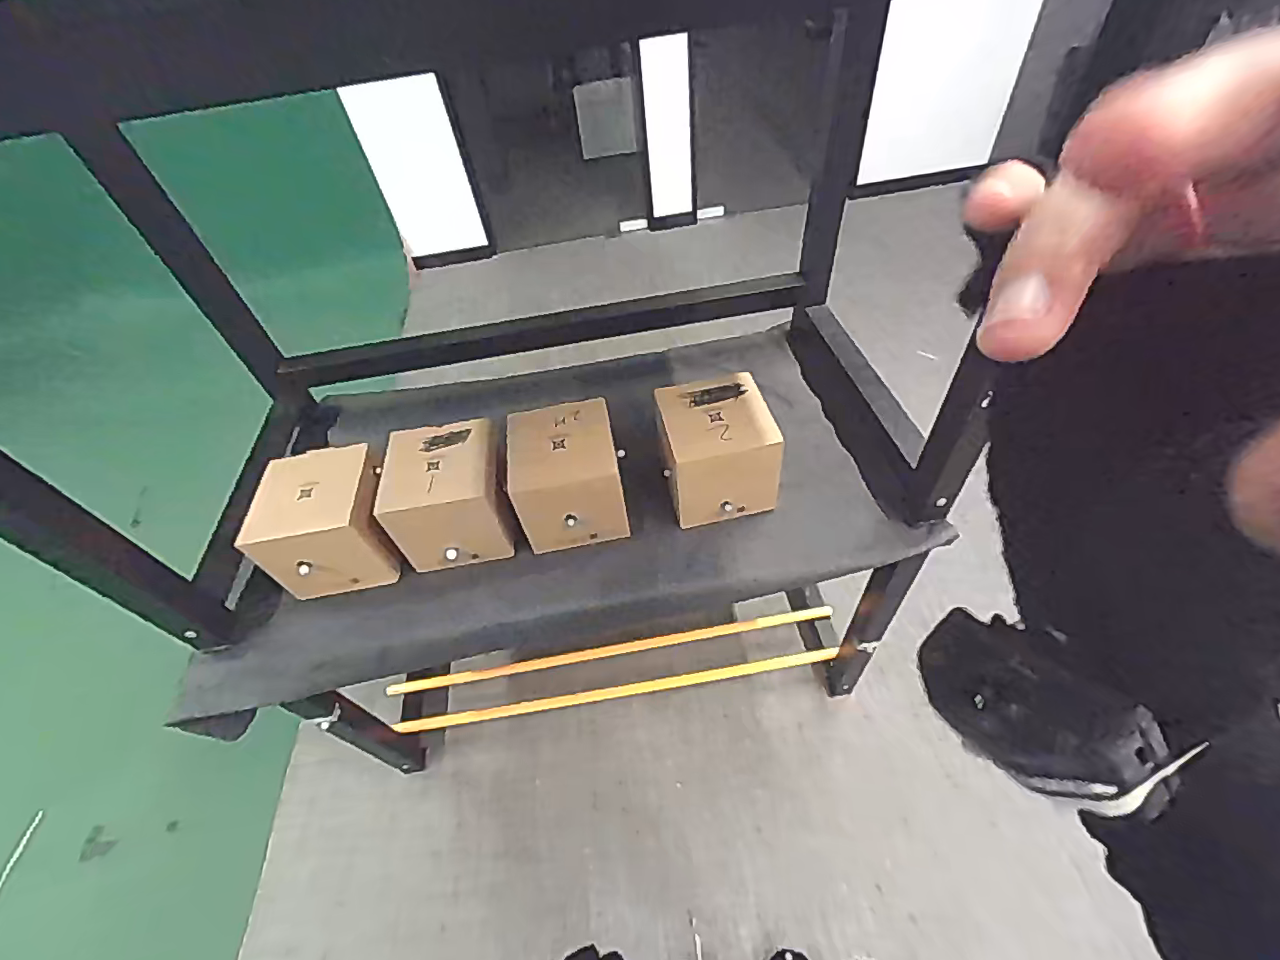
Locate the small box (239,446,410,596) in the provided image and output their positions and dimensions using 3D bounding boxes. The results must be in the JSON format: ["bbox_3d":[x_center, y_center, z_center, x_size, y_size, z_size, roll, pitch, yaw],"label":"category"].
[{"bbox_3d":[-0.498,0.074,0.888,0.168,0.176,0.179,-10,48,-2],"label":"small box"}]
